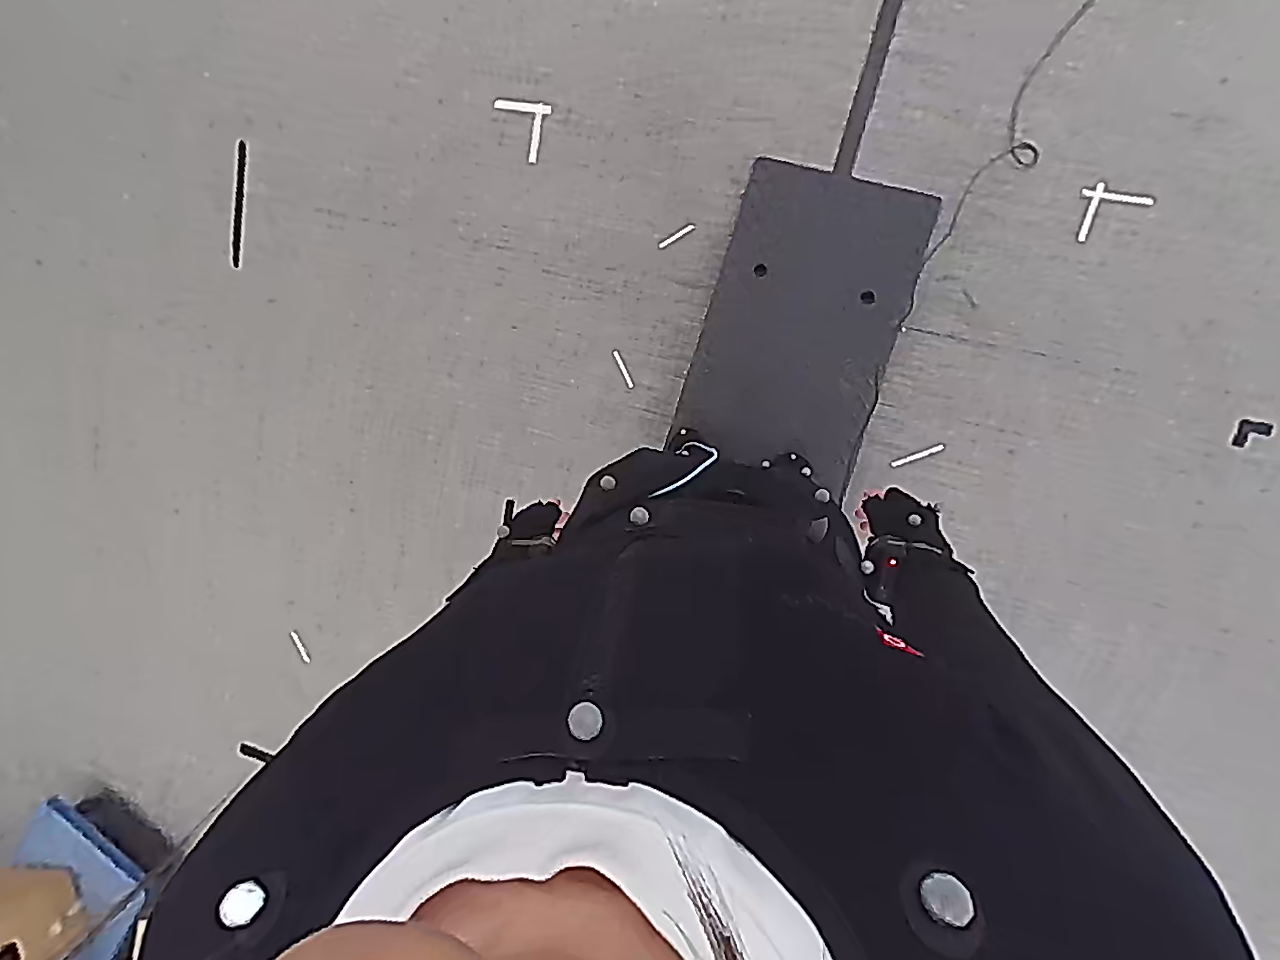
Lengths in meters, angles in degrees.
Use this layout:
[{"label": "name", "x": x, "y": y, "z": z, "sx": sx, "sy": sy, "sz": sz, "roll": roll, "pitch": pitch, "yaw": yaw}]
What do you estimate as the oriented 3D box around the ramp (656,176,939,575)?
[{"label": "ramp", "x": 0.407, "y": -0.293, "z": 1.439, "sx": 0.509, "sy": 0.206, "sz": 0.991, "roll": 15, "pitch": 100, "yaw": 11}]
